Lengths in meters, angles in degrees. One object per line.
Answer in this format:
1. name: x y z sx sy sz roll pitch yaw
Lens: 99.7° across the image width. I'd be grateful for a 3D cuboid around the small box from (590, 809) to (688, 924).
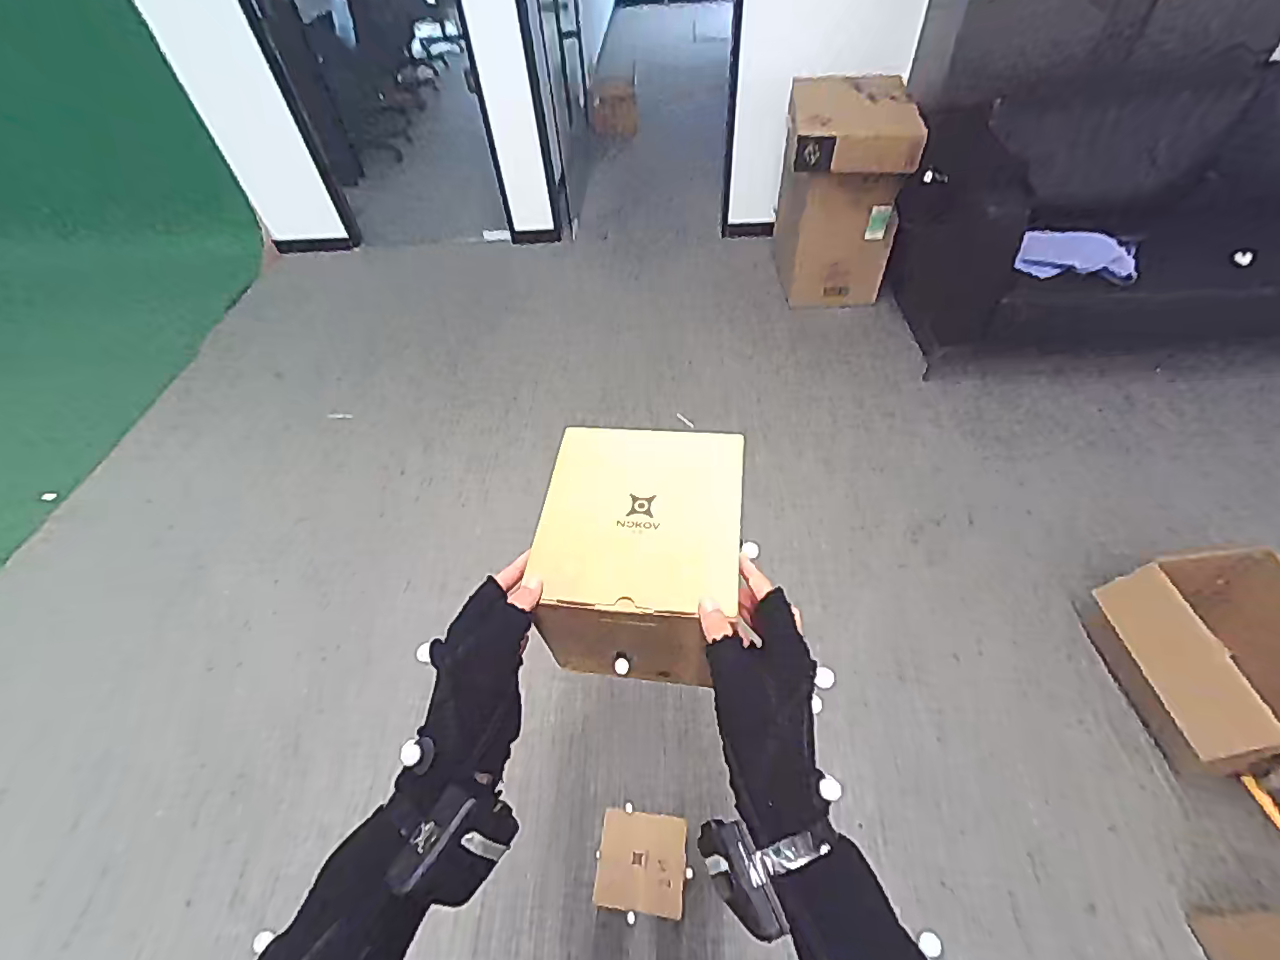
1. small box: 0.006 0.810 1.130 0.179 0.176 0.168 4 50 8
